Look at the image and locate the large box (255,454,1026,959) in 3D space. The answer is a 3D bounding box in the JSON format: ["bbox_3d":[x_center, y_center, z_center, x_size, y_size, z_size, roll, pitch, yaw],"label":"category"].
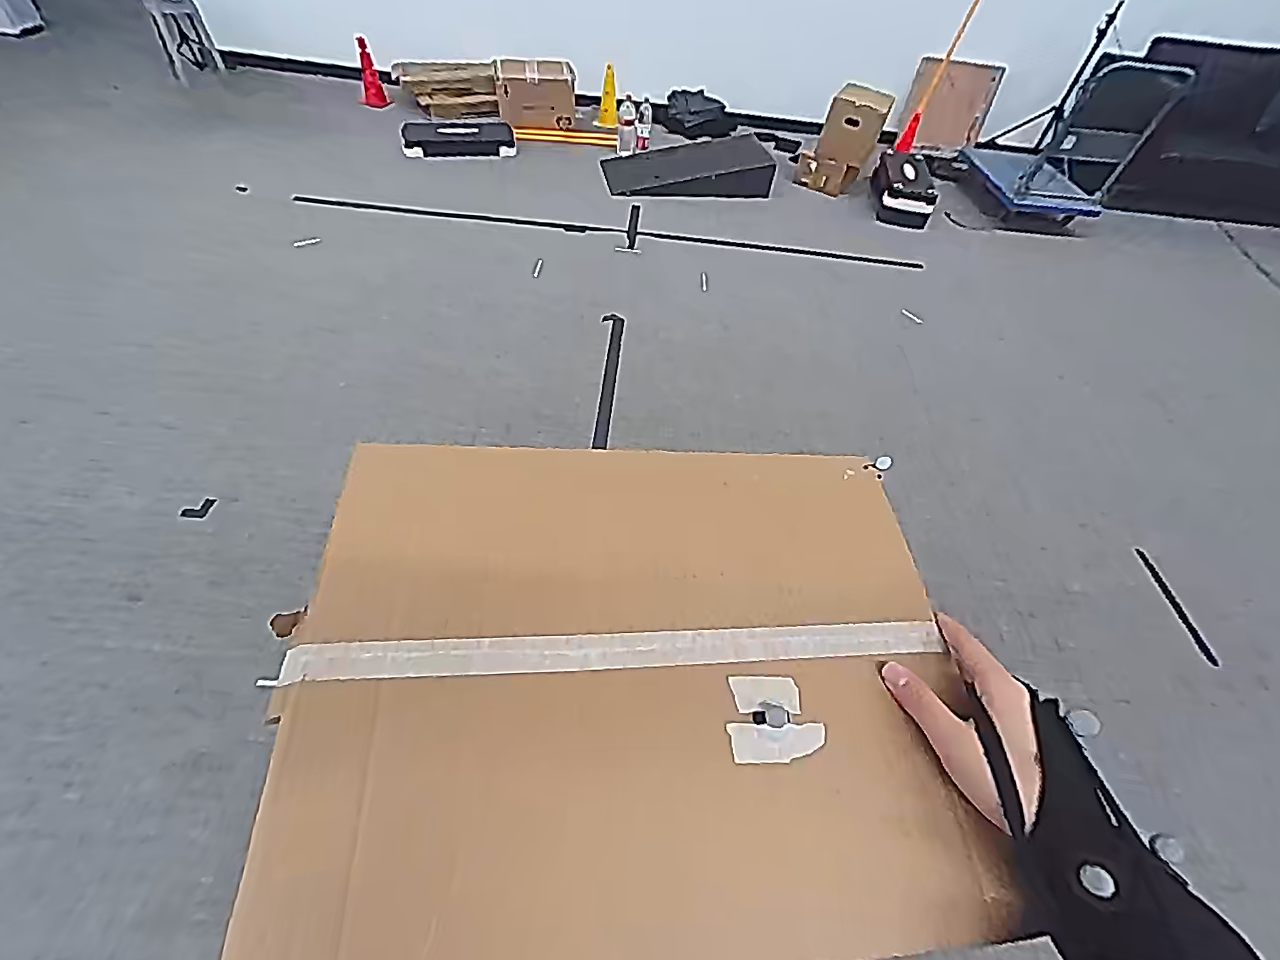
[{"bbox_3d":[-0.015,0.194,0.467,0.408,0.320,0.320,2,56,-10],"label":"large box"}]
